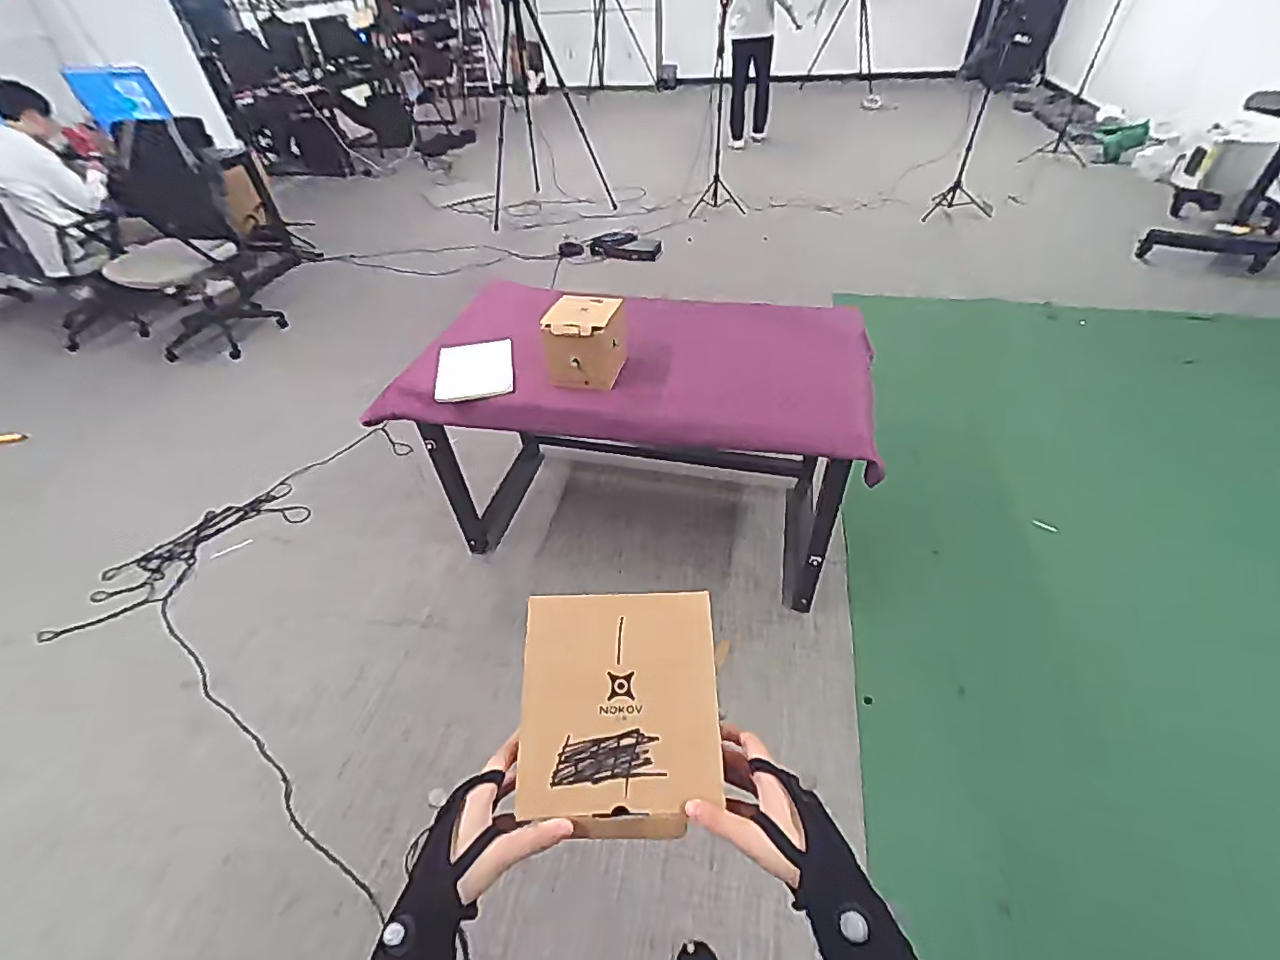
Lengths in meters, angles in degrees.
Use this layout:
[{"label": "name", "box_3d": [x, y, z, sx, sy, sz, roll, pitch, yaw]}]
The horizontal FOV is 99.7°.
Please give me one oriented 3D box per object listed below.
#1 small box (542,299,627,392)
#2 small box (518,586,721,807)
[{"label": "small box", "box_3d": [-0.133, -0.346, 1.396, 0.168, 0.176, 0.179, 8, 46, 12]}, {"label": "small box", "box_3d": [-0.015, 0.211, 0.532, 0.168, 0.176, 0.179, -1, 64, 0]}]
